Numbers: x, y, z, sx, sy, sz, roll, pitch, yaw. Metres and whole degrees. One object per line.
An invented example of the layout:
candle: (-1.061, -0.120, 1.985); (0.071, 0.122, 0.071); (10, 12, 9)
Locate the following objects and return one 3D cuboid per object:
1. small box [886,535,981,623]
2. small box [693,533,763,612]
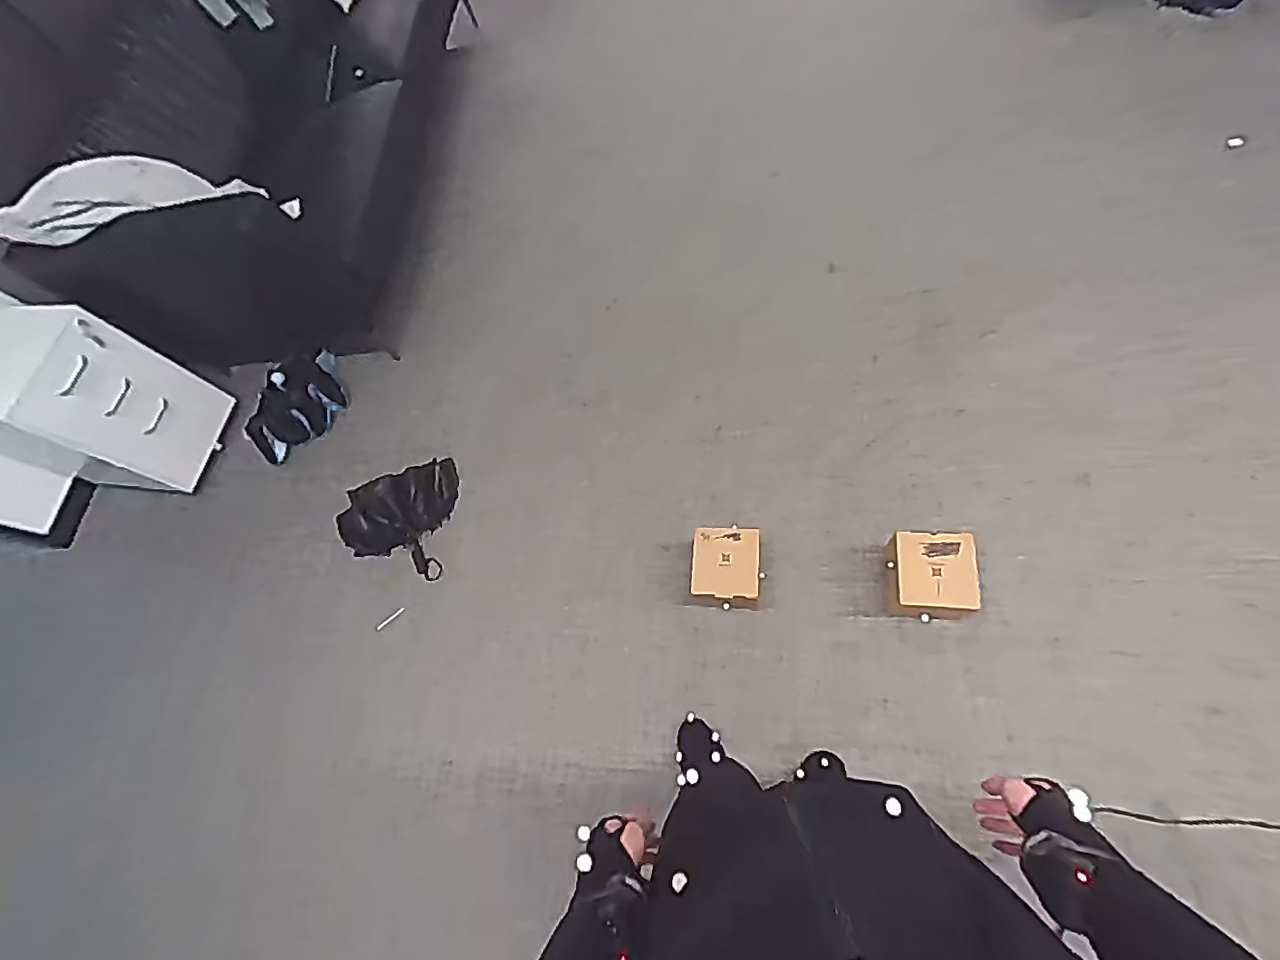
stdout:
small box: (0.700, 0.242, 1.308); (0.168, 0.176, 0.179); (0, 69, 16)
small box: (0.239, 0.249, 1.431); (0.168, 0.176, 0.179); (0, 68, 15)
